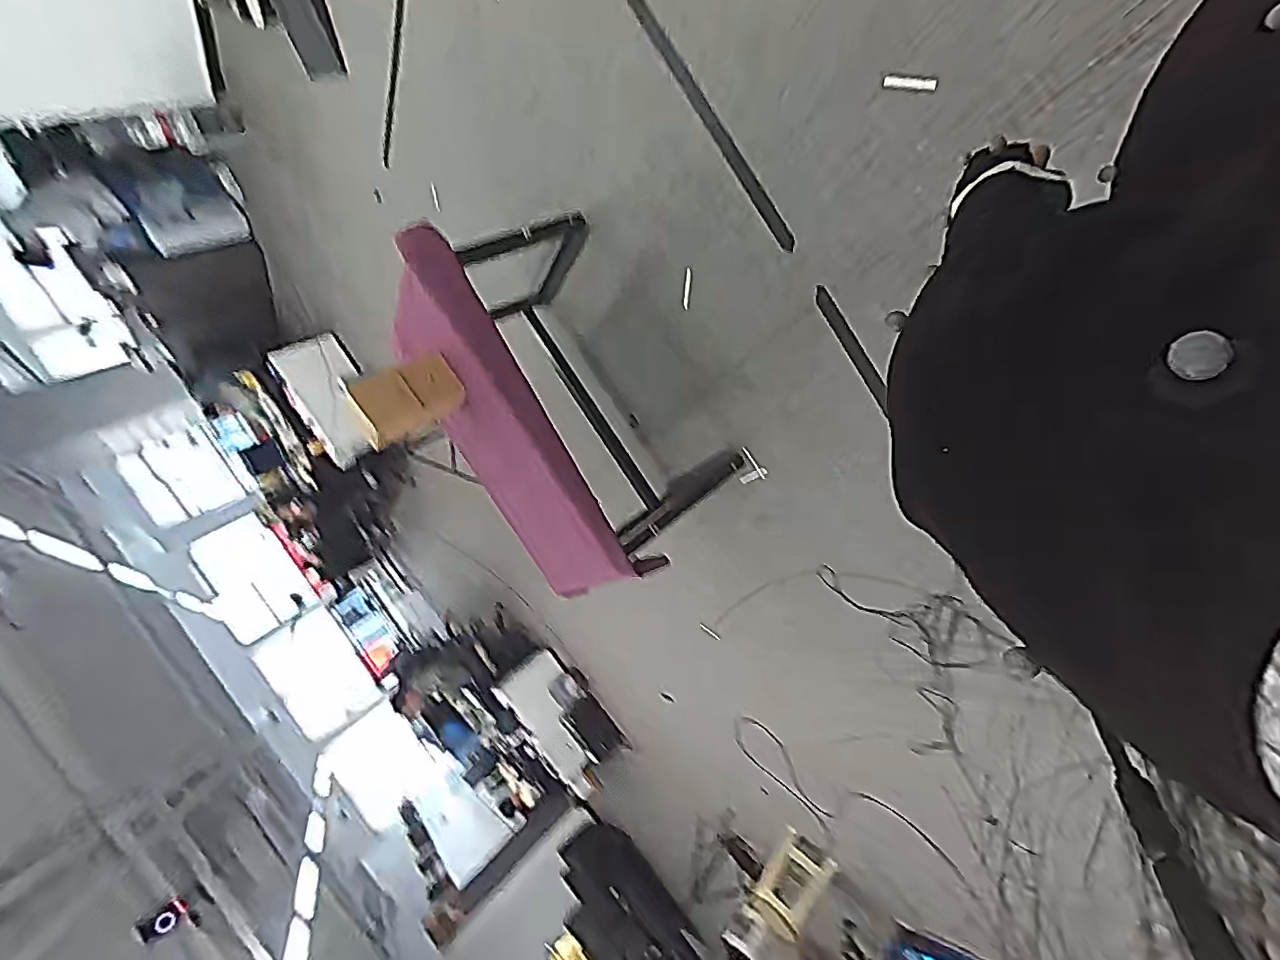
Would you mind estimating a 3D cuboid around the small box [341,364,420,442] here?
[{"bbox_3d":[-0.850,-0.258,1.772,0.179,0.176,0.168,54,148,1],"label":"small box"}]
